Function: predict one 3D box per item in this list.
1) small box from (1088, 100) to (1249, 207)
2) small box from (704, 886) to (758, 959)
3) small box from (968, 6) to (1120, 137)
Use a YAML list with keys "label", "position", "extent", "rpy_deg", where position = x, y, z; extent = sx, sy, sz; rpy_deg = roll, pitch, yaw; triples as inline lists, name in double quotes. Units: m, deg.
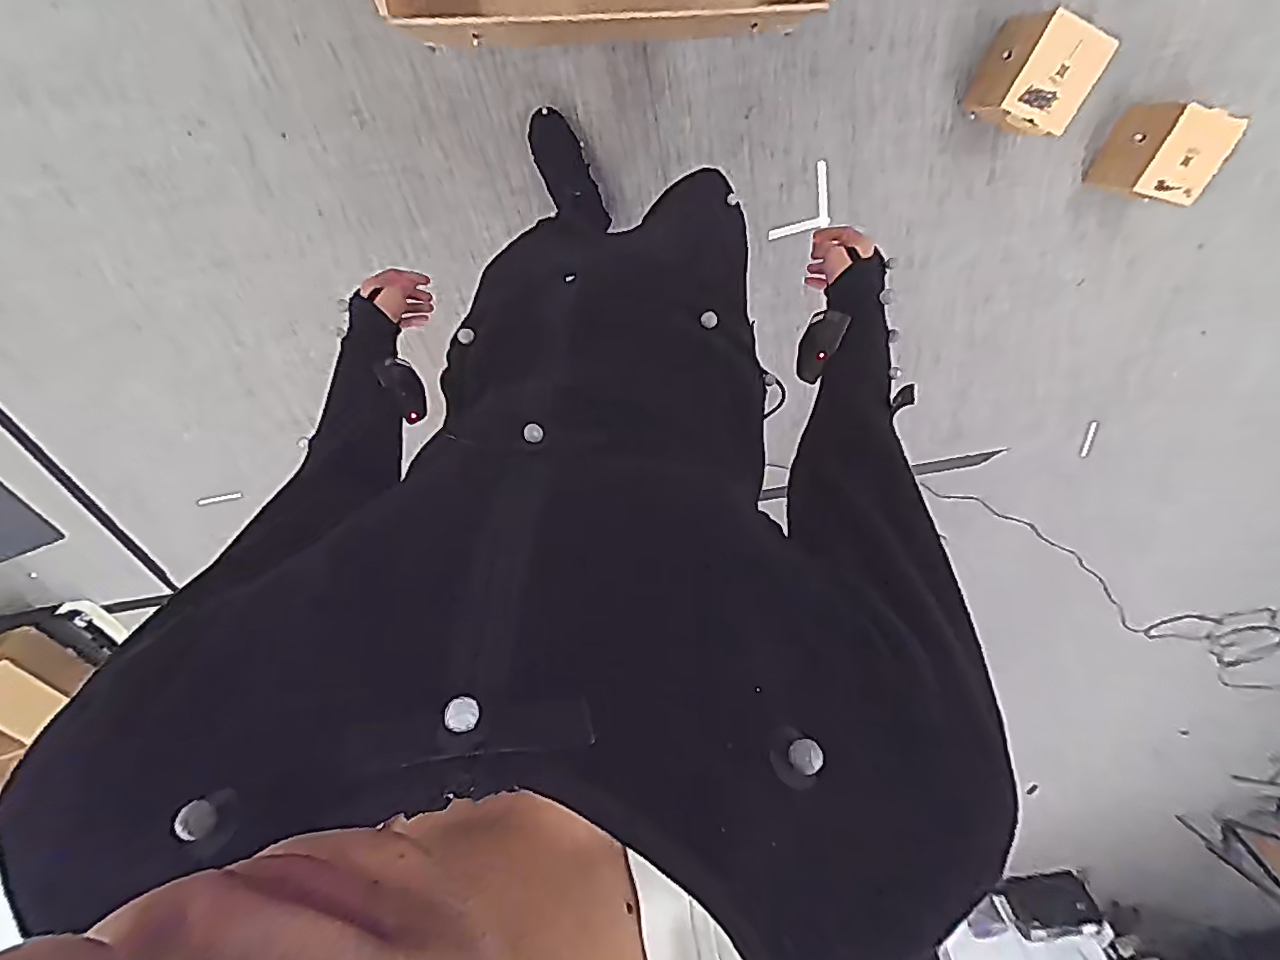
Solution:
- label: "small box"
  position: [1.225, -0.766, 1.272]
  extent: [0.168, 0.176, 0.179]
  rpy_deg: [10, 122, -9]
- label: "small box"
  position: [0.330, 1.628, 1.988]
  extent: [0.168, 0.176, 0.179]
  rpy_deg: [-5, 123, 0]
- label: "small box"
  position: [0.858, -0.878, 1.176]
  extent: [0.168, 0.176, 0.179]
  rpy_deg: [15, 122, -13]
